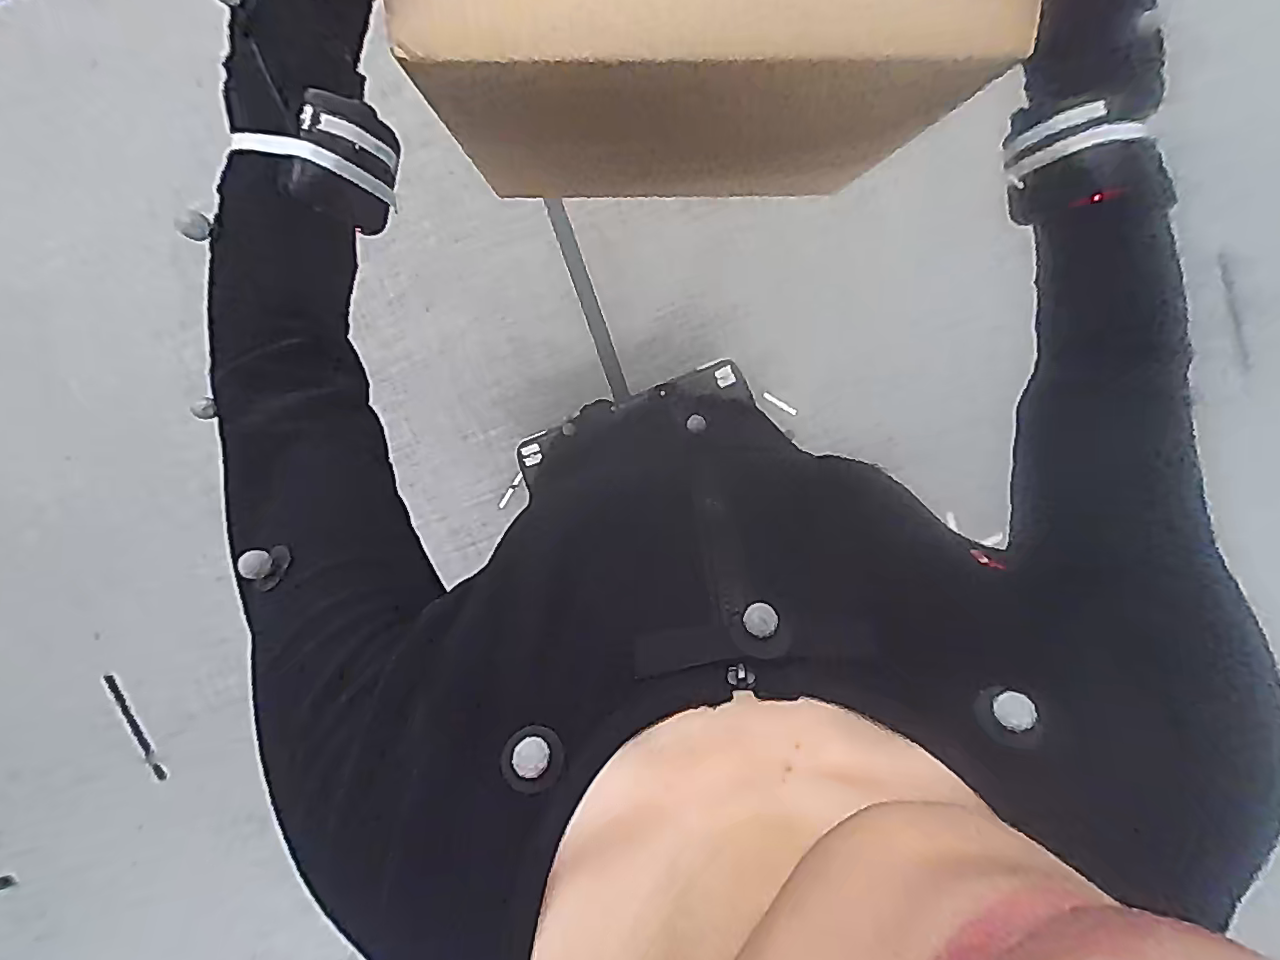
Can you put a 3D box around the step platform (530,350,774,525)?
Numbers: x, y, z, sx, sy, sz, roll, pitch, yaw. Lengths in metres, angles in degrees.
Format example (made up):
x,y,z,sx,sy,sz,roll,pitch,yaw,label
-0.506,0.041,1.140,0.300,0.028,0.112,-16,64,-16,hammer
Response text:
x,y,z,sx,sy,sz,roll,pitch,yaw,label
0.033,-0.122,1.566,0.684,0.204,0.286,-23,99,1,step platform

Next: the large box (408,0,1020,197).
x,y,z,sx,sy,sz,roll,pitch,yaw,label
0.038,-0.456,0.463,0.408,0.320,0.320,-2,104,-3,large box
